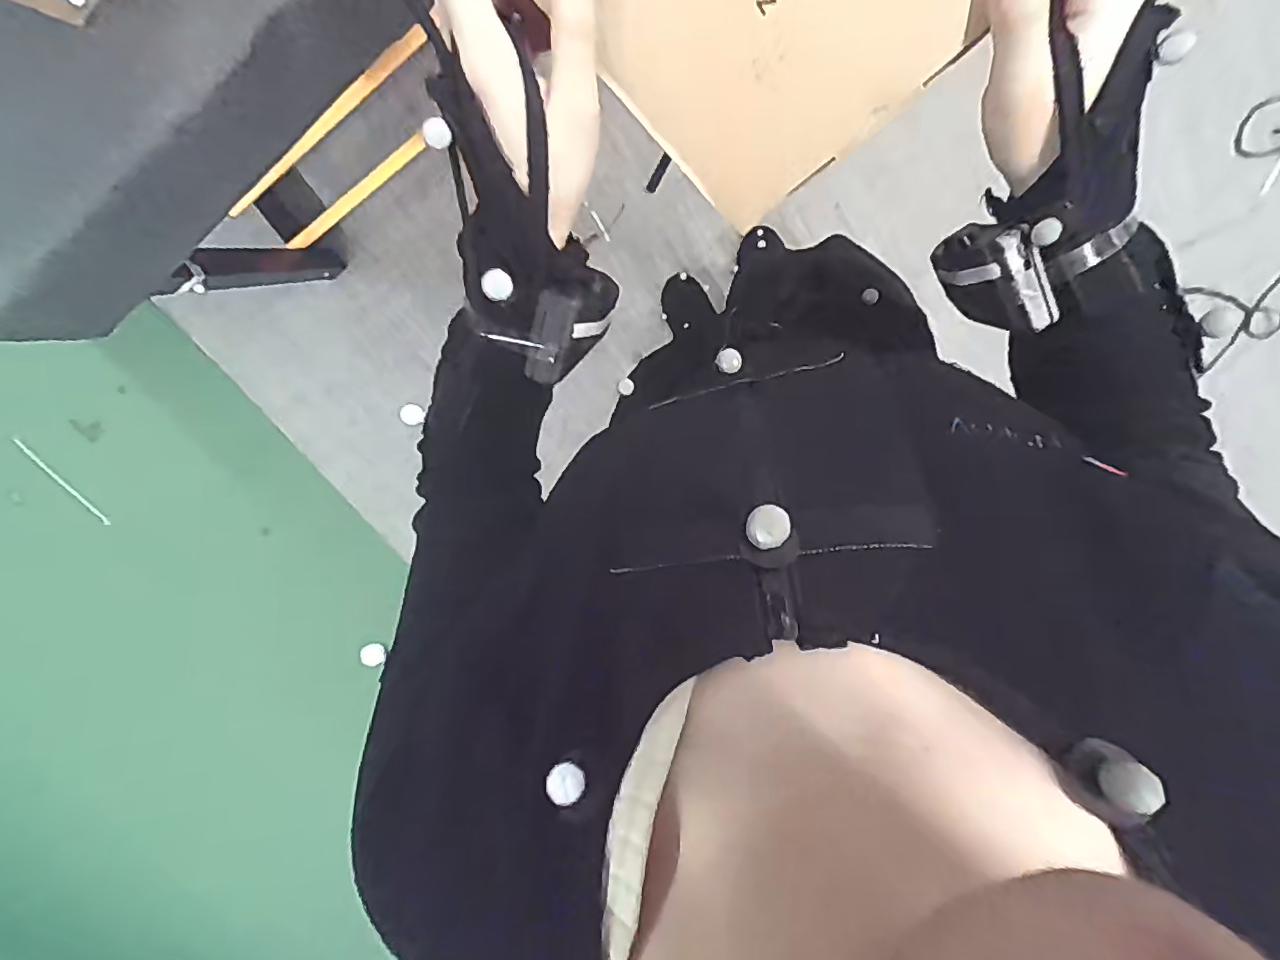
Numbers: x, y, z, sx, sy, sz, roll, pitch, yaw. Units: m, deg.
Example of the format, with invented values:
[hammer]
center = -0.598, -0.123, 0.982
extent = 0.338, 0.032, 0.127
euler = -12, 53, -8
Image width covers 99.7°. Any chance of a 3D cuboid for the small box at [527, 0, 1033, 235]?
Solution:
[small box]
center = 0.054, -0.275, 0.268
extent = 0.168, 0.176, 0.179
euler = -31, 134, 34
